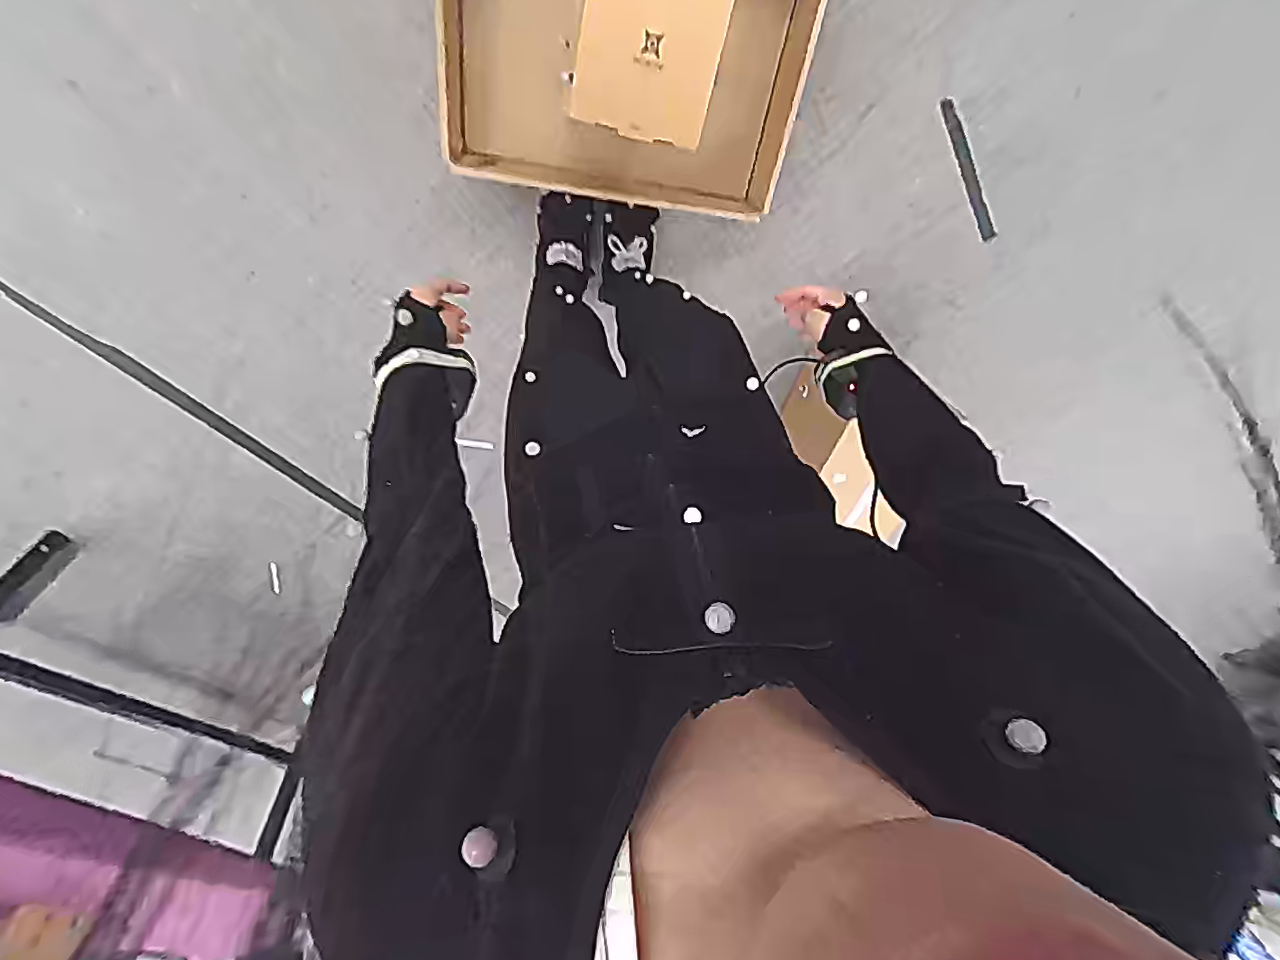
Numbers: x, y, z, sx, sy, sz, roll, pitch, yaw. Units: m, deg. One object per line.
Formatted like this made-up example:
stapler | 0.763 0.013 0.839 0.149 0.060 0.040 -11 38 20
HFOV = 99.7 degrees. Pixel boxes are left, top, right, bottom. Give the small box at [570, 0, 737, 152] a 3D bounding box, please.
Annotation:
small box | 0.004 -0.542 0.686 0.168 0.176 0.179 6 126 -14

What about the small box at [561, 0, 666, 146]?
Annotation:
small box | -0.024 -0.635 0.818 0.168 0.176 0.179 6 126 -14

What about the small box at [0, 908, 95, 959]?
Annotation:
small box | -1.550 1.213 1.364 0.179 0.176 0.168 -33 125 17
